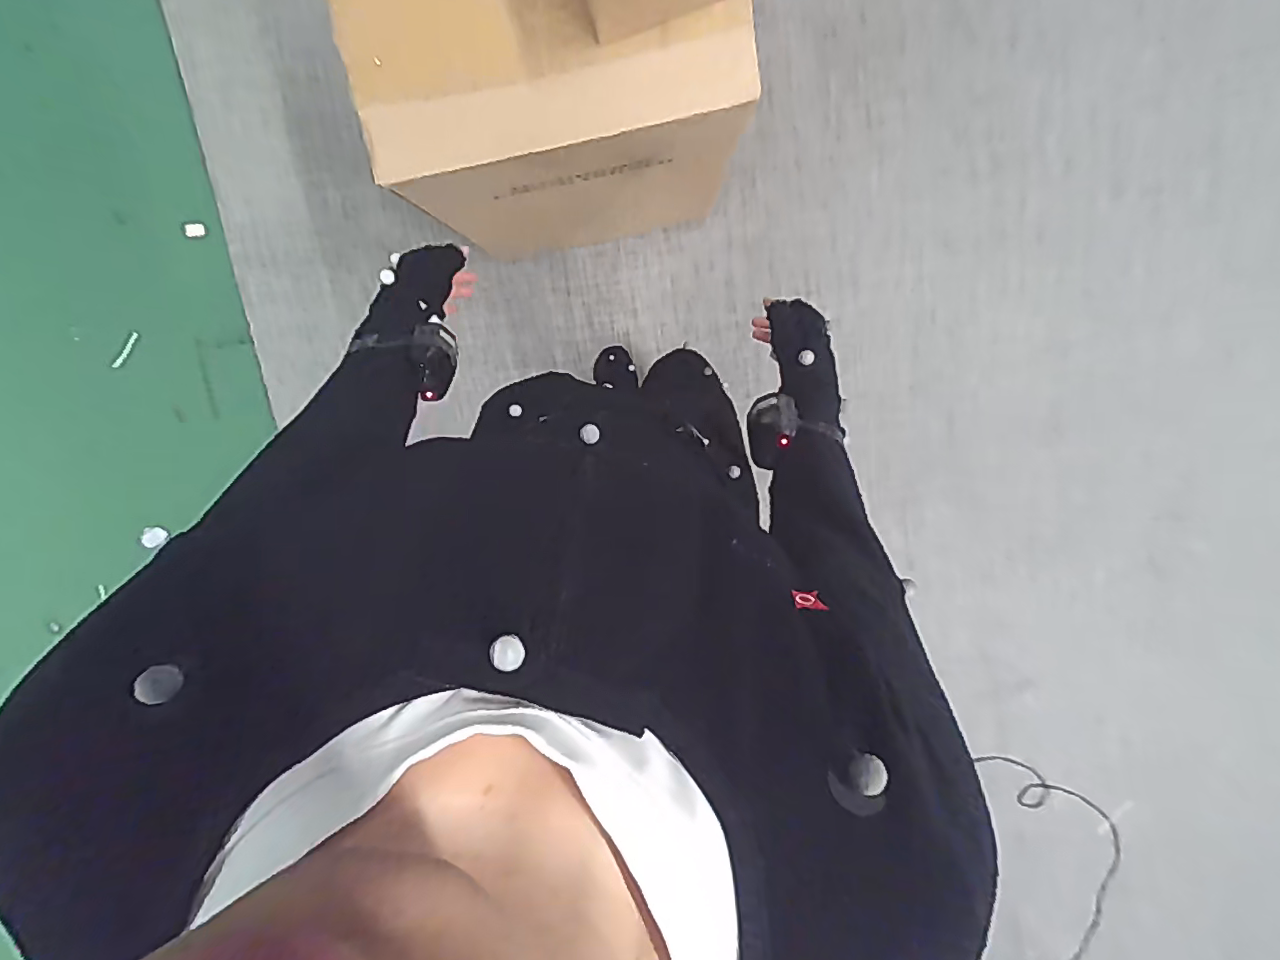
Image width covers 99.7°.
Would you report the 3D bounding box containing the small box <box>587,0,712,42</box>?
[{"bbox_3d":[0.007,-0.629,0.583,0.179,0.176,0.168,-17,105,7],"label":"small box"}]
